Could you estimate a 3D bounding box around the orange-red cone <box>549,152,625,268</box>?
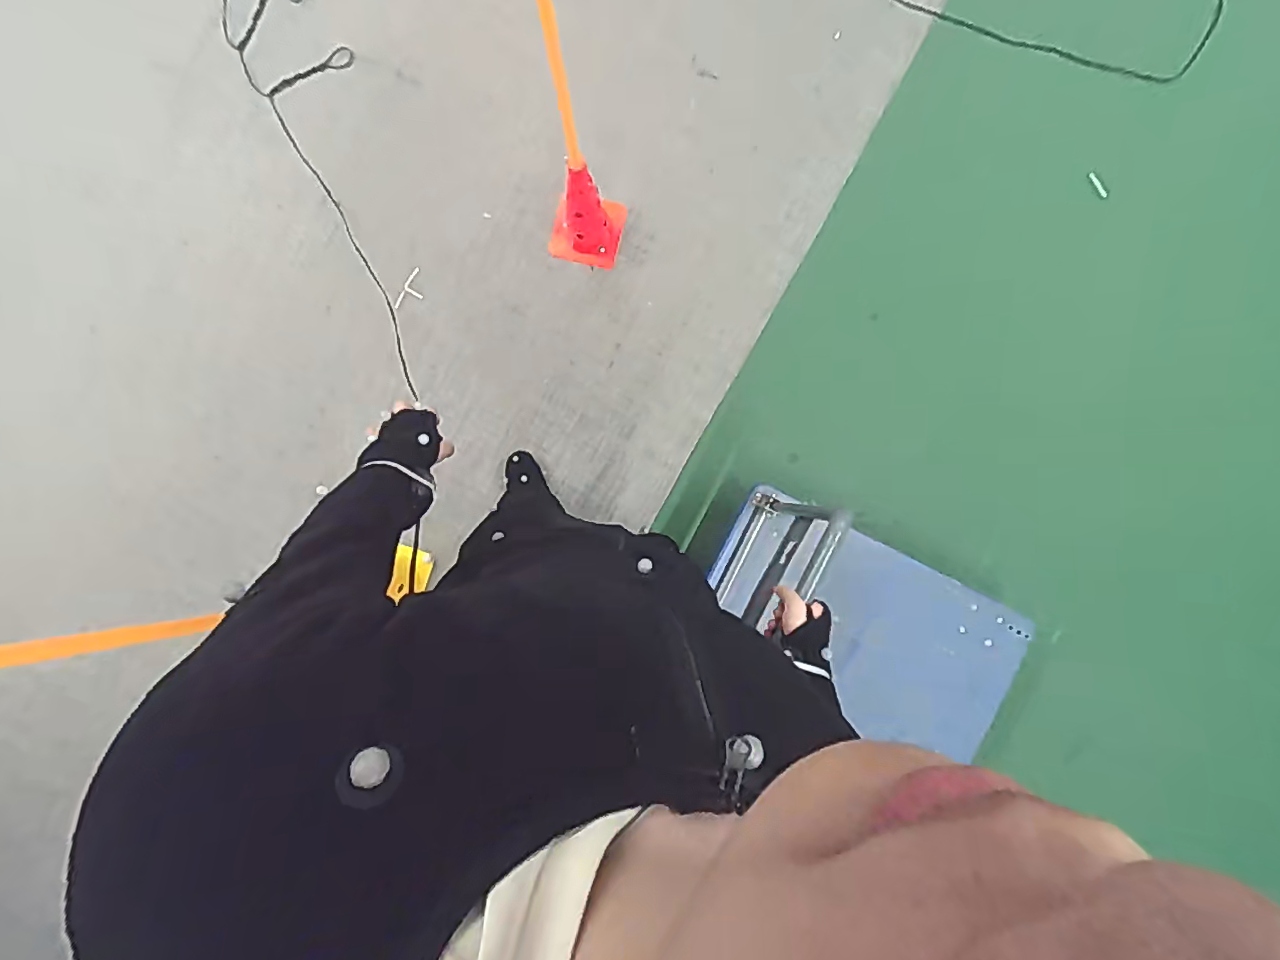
[{"bbox_3d":[-0.153,-0.750,1.439,0.198,0.360,0.199,15,89,-2],"label":"orange-red cone"}]
